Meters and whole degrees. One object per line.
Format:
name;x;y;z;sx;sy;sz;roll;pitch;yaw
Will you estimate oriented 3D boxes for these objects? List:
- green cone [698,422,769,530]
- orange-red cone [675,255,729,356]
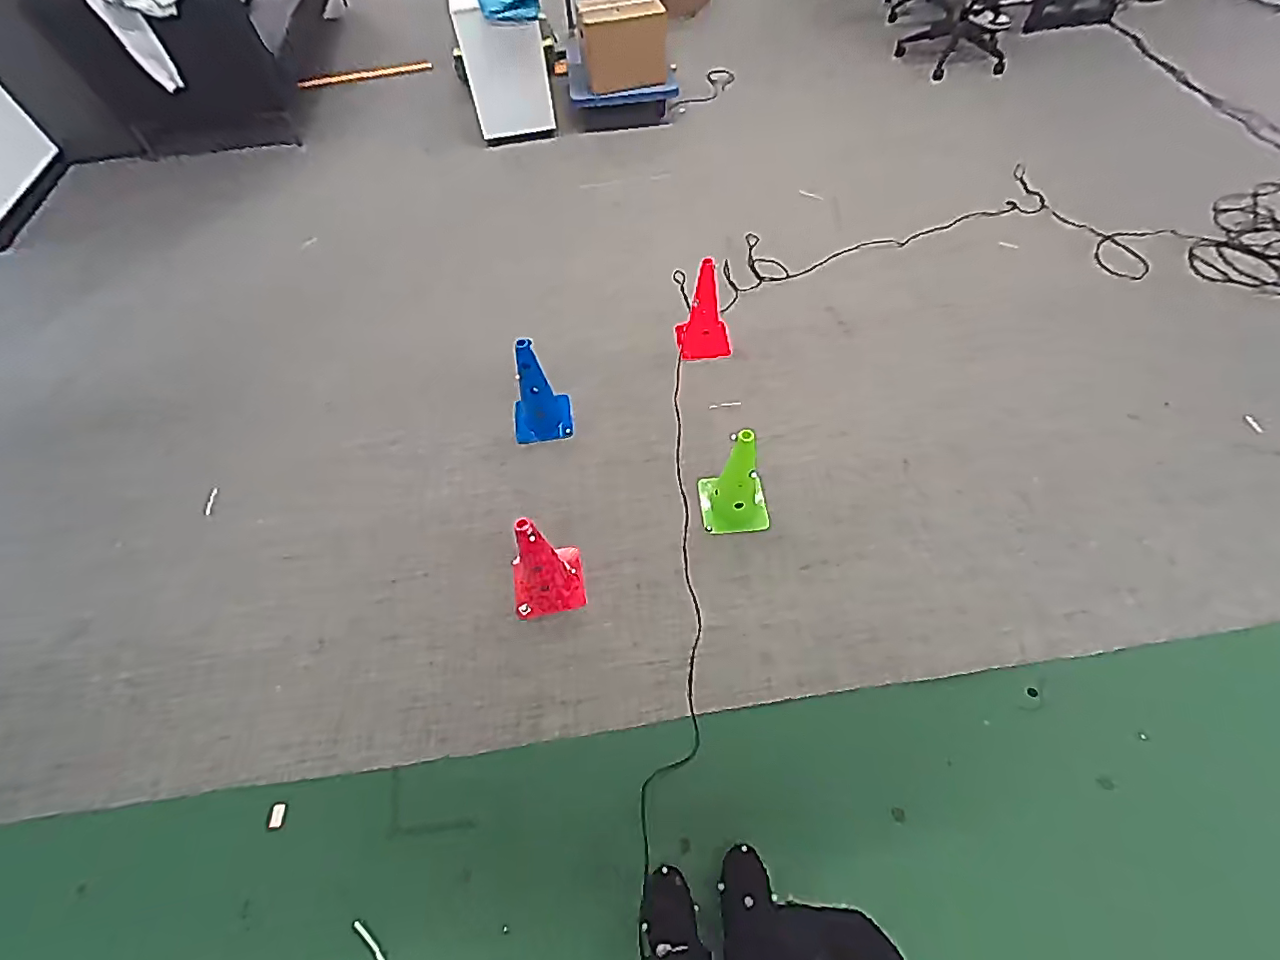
green cone;0.284;-0.034;1.551;0.200;0.368;0.202;-6;56;-1
orange-red cone;0.228;-0.645;1.948;0.198;0.360;0.199;-5;59;1
